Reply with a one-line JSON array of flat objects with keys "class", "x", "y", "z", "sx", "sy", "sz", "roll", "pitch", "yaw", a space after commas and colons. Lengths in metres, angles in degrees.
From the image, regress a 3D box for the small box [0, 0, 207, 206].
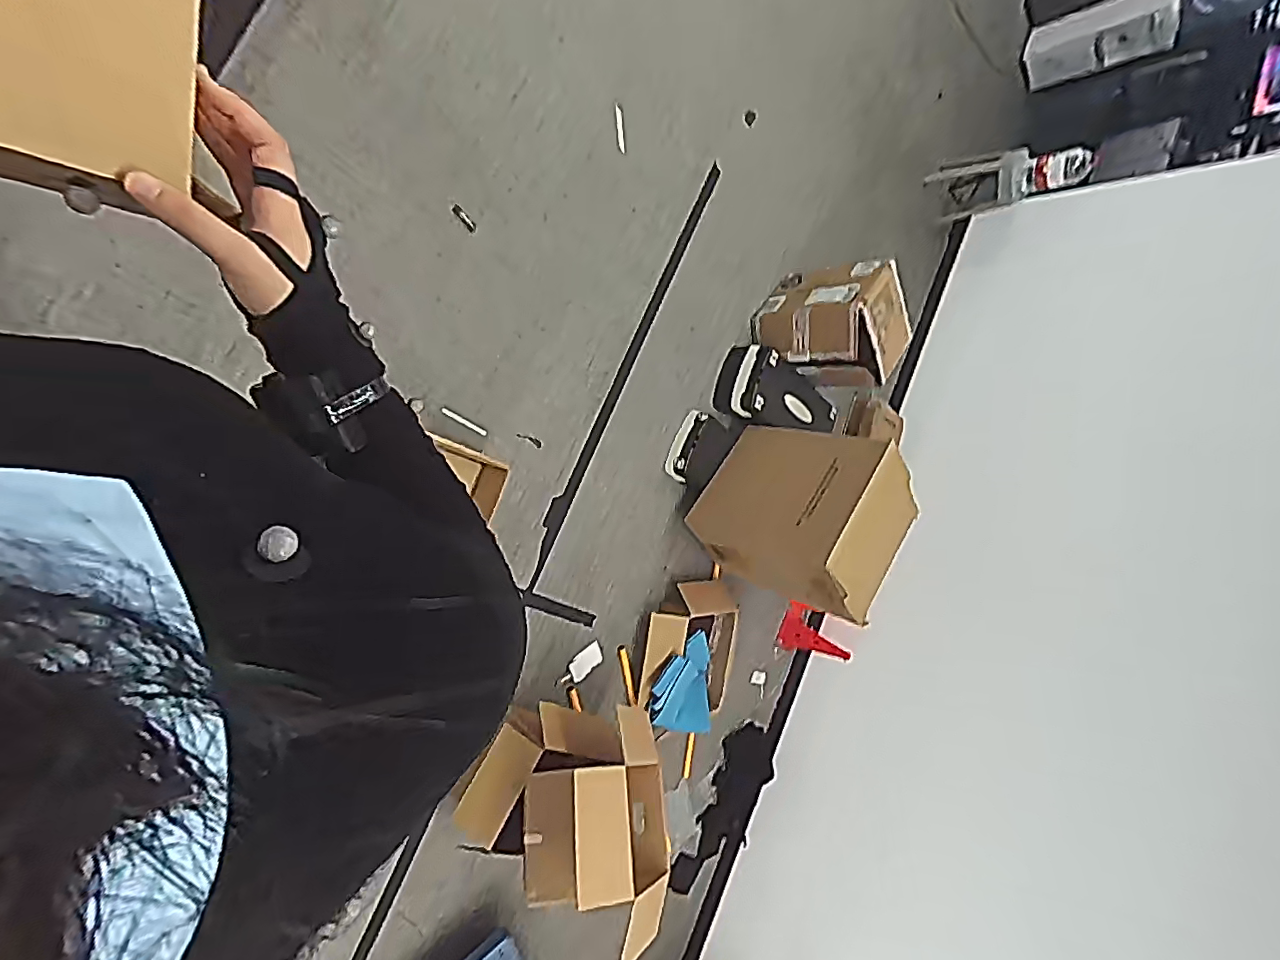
[{"class": "small box", "x": -0.359, "y": -0.265, "z": 0.294, "sx": 0.179, "sy": 0.176, "sz": 0.168, "roll": 1, "pitch": 104, "yaw": -44}]
